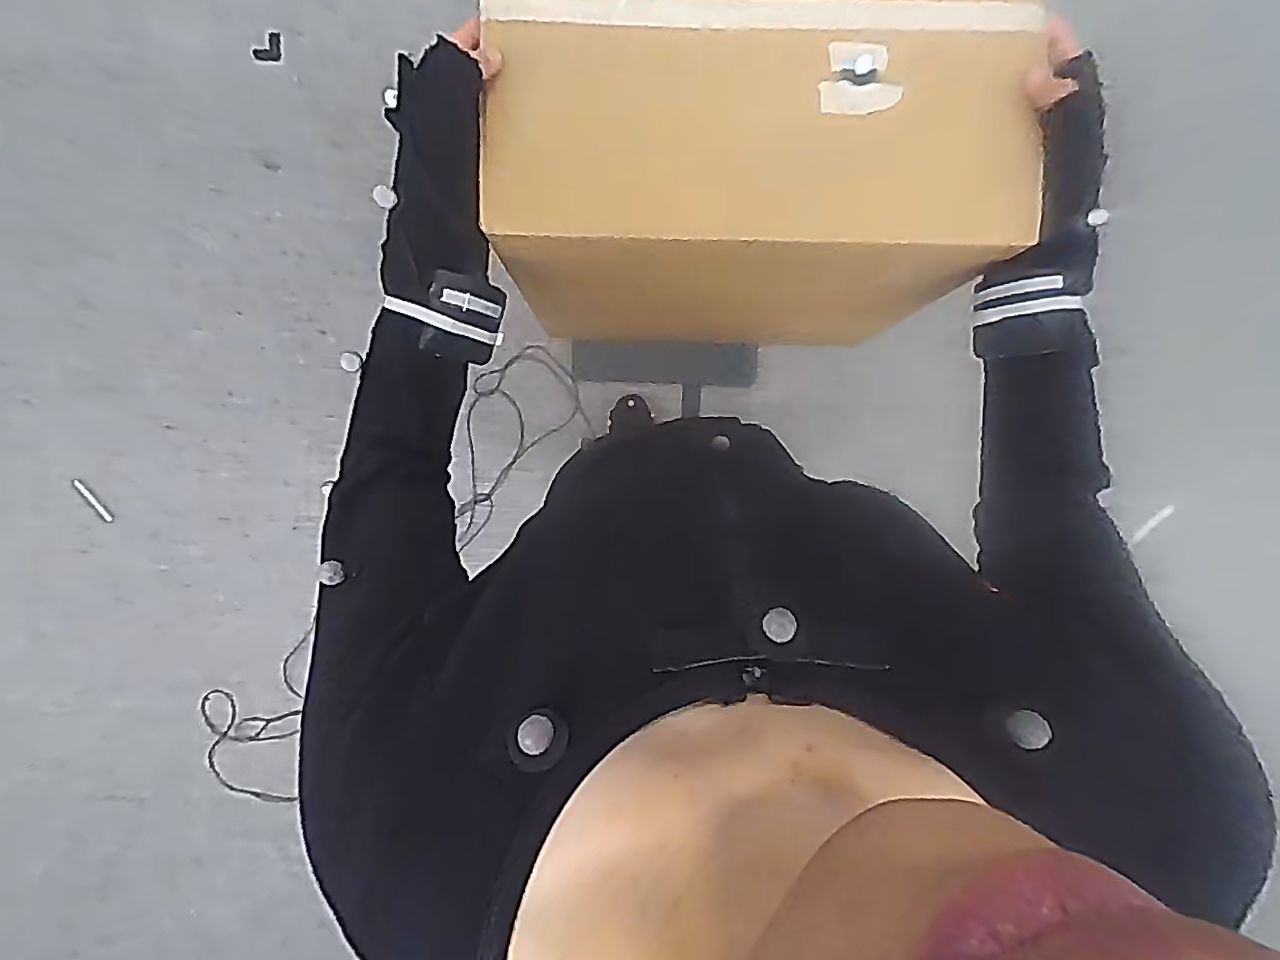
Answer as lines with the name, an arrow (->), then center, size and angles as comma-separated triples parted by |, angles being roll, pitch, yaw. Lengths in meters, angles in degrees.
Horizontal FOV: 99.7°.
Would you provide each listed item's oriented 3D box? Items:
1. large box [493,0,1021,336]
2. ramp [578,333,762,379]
large box -> 0.084, -0.340, 0.553 | 0.408, 0.320, 0.320 | 1, 91, -1
ramp -> 0.089, -0.758, 1.334 | 0.509, 0.206, 0.991 | 0, 95, -1
